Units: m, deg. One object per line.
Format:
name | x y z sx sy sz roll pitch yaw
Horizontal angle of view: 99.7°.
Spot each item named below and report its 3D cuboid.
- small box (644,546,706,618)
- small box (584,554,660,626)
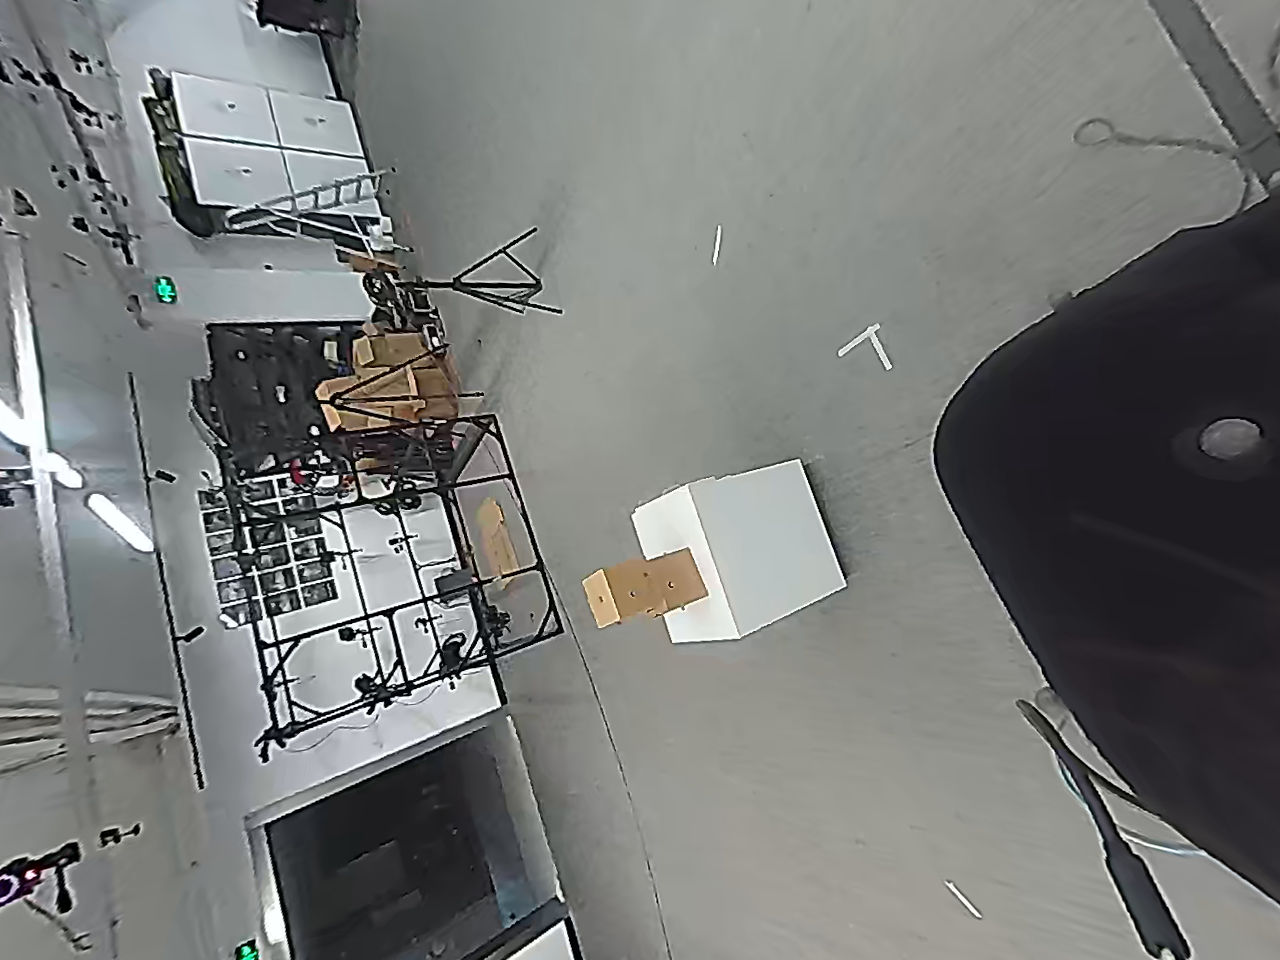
small box | 0.096 0.340 1.814 0.168 0.176 0.179 -42 65 54
small box | -0.054 0.353 1.745 0.179 0.176 0.168 -42 66 55
